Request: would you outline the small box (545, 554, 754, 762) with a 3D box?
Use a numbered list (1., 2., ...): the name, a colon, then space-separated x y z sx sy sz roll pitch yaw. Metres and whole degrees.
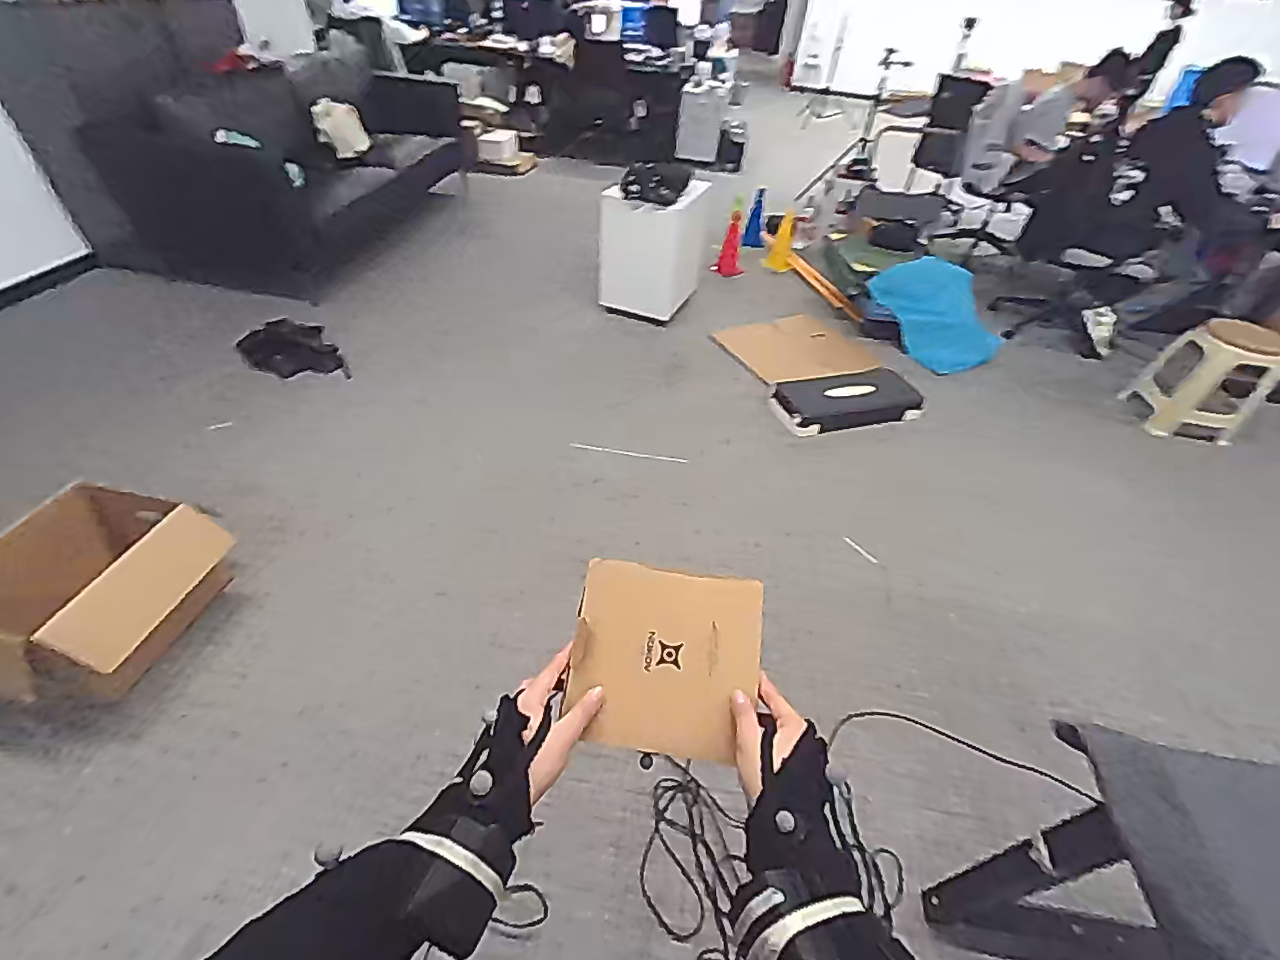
1. small box: 0.012 0.189 0.565 0.179 0.176 0.168 8 65 2
